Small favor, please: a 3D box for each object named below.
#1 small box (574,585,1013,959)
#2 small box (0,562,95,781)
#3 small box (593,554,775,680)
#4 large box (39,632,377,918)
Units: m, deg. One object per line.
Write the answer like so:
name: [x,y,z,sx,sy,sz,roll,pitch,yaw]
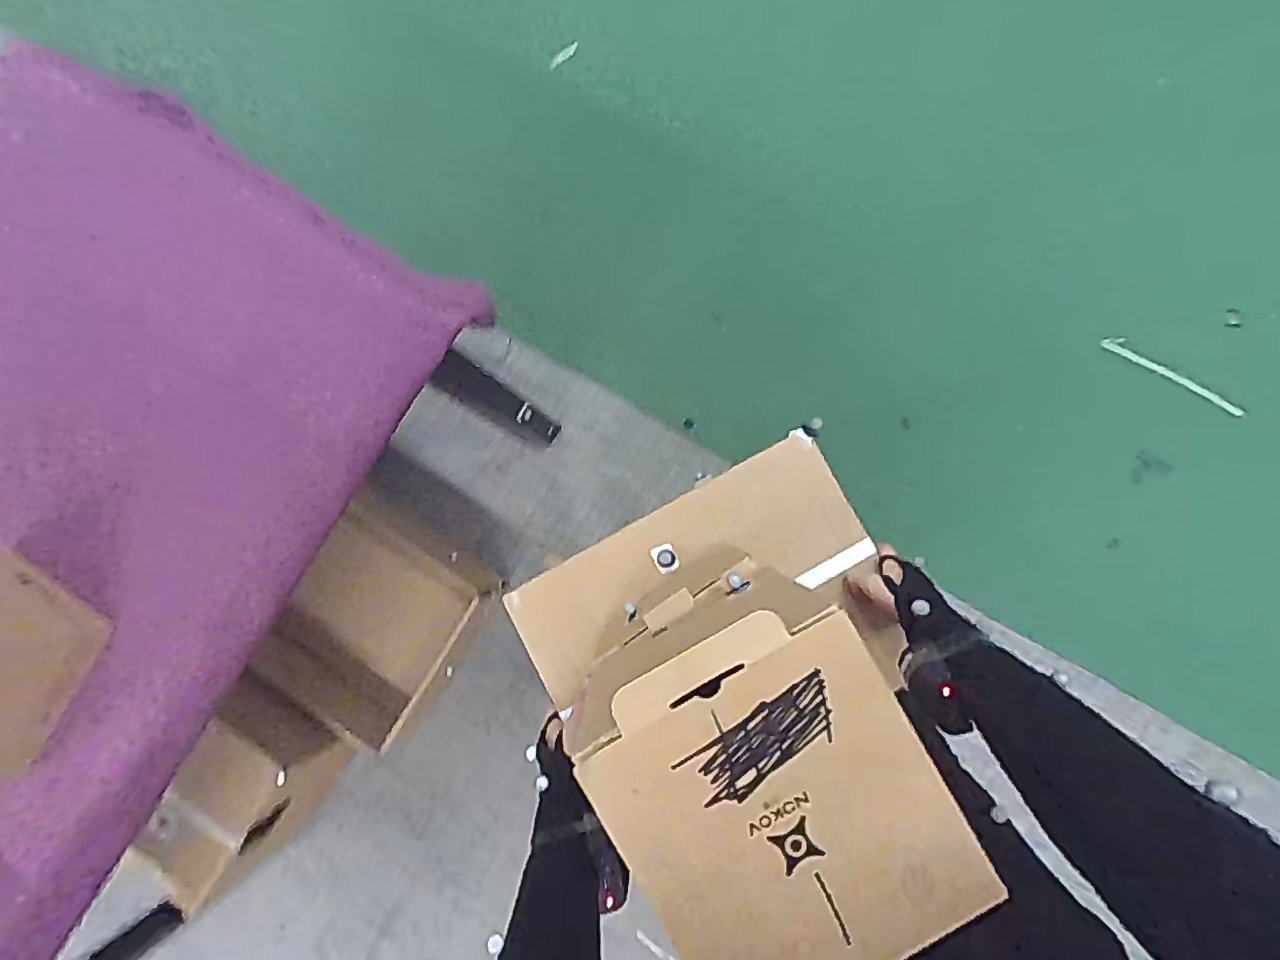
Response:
small box: [0.075,0.182,0.351,0.168,0.176,0.179,-29,88,-1]
small box: [-0.675,0.187,0.496,0.168,0.176,0.179,30,88,9]
small box: [0.073,0.183,0.515,0.168,0.176,0.179,-33,87,-1]
large box: [-0.872,0.577,1.146,0.408,0.320,0.320,31,88,6]
